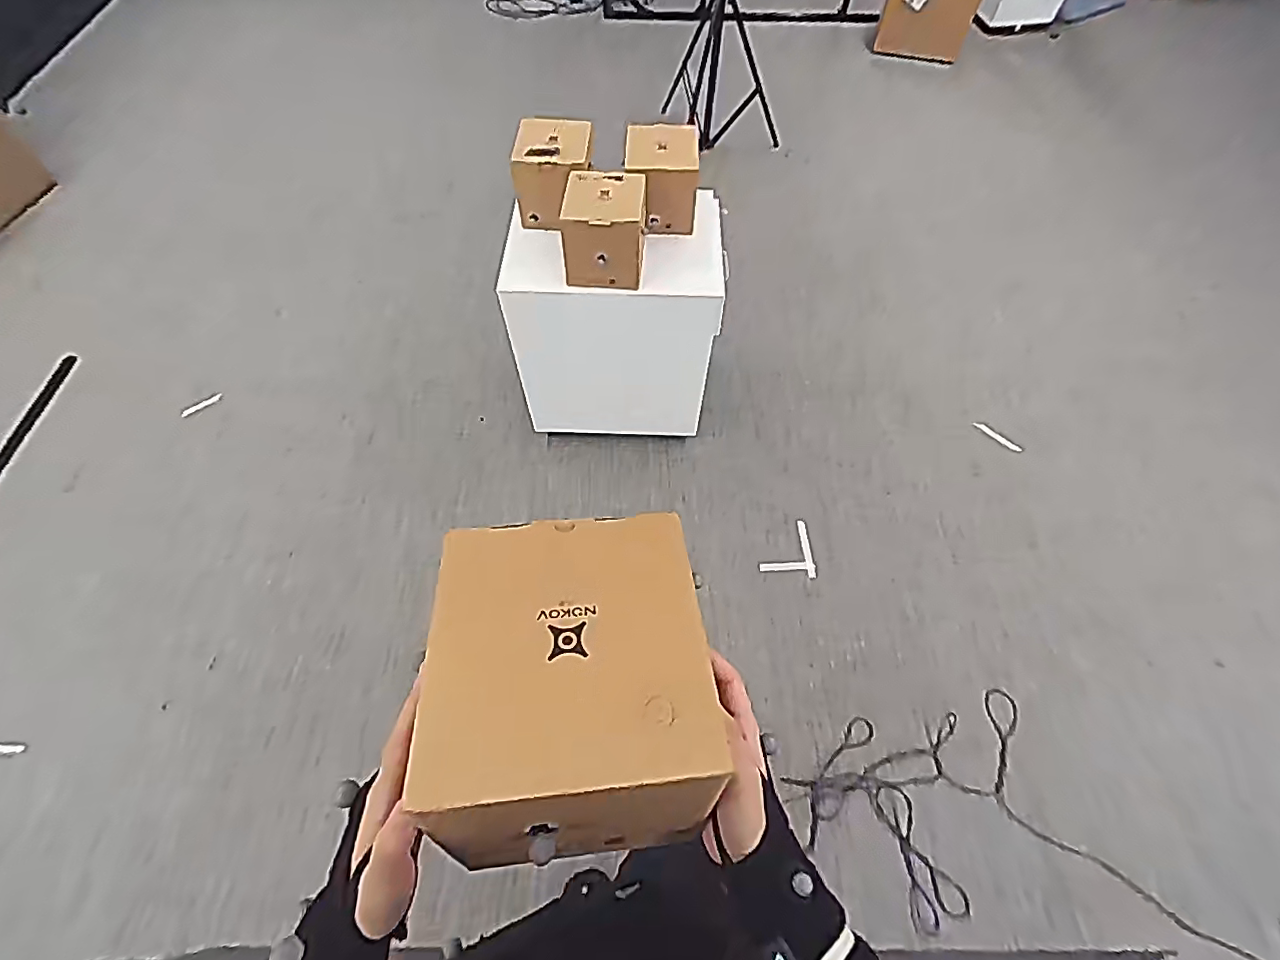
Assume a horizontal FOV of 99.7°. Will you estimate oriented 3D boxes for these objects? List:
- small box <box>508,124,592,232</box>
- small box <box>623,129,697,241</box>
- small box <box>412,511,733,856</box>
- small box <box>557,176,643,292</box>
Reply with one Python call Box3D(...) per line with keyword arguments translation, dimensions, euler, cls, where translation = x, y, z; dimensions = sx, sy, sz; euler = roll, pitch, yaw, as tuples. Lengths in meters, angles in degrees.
Box3D(translation=(-0.205, -0.713, 1.290), dimensions=(0.168, 0.176, 0.179), euler=(3, 60, 0), cls="small box")
Box3D(translation=(0.046, -0.702, 1.291), dimensions=(0.168, 0.176, 0.179), euler=(1, 62, 1), cls="small box")
Box3D(translation=(-0.043, 0.146, 0.383), dimensions=(0.168, 0.176, 0.179), euler=(-4, 46, -7), cls="small box")
Box3D(translation=(-0.081, -0.537, 1.192), dimensions=(0.168, 0.176, 0.179), euler=(4, 60, 1), cls="small box")
